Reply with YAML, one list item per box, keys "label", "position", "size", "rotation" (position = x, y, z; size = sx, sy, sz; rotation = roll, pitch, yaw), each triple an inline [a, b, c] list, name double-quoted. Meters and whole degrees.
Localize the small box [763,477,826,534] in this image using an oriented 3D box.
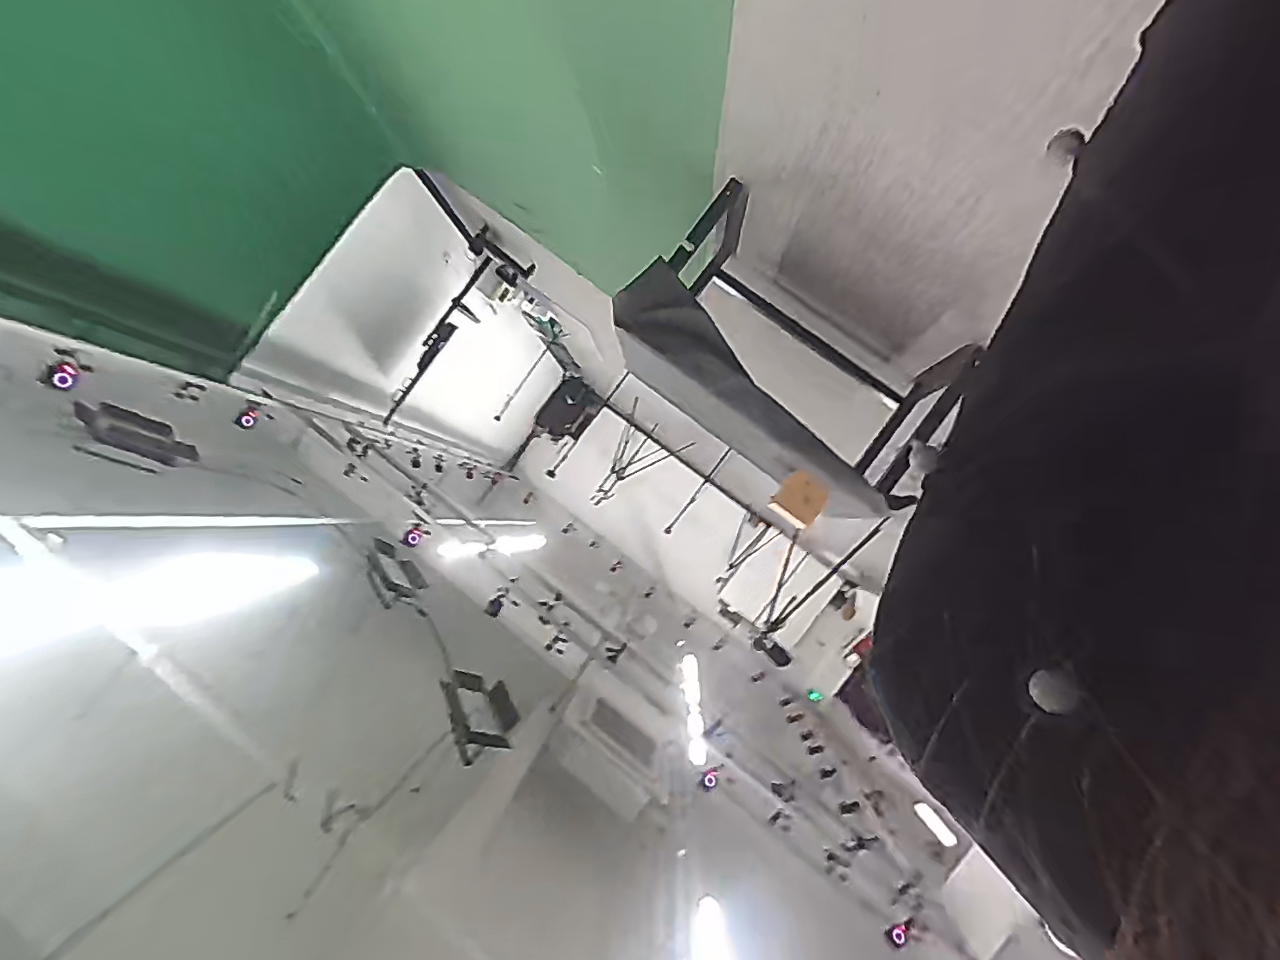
- label: "small box"
  position: [0.623, 0.102, 2.175]
  size: [0.168, 0.176, 0.179]
  rotation: [38, 179, 7]
